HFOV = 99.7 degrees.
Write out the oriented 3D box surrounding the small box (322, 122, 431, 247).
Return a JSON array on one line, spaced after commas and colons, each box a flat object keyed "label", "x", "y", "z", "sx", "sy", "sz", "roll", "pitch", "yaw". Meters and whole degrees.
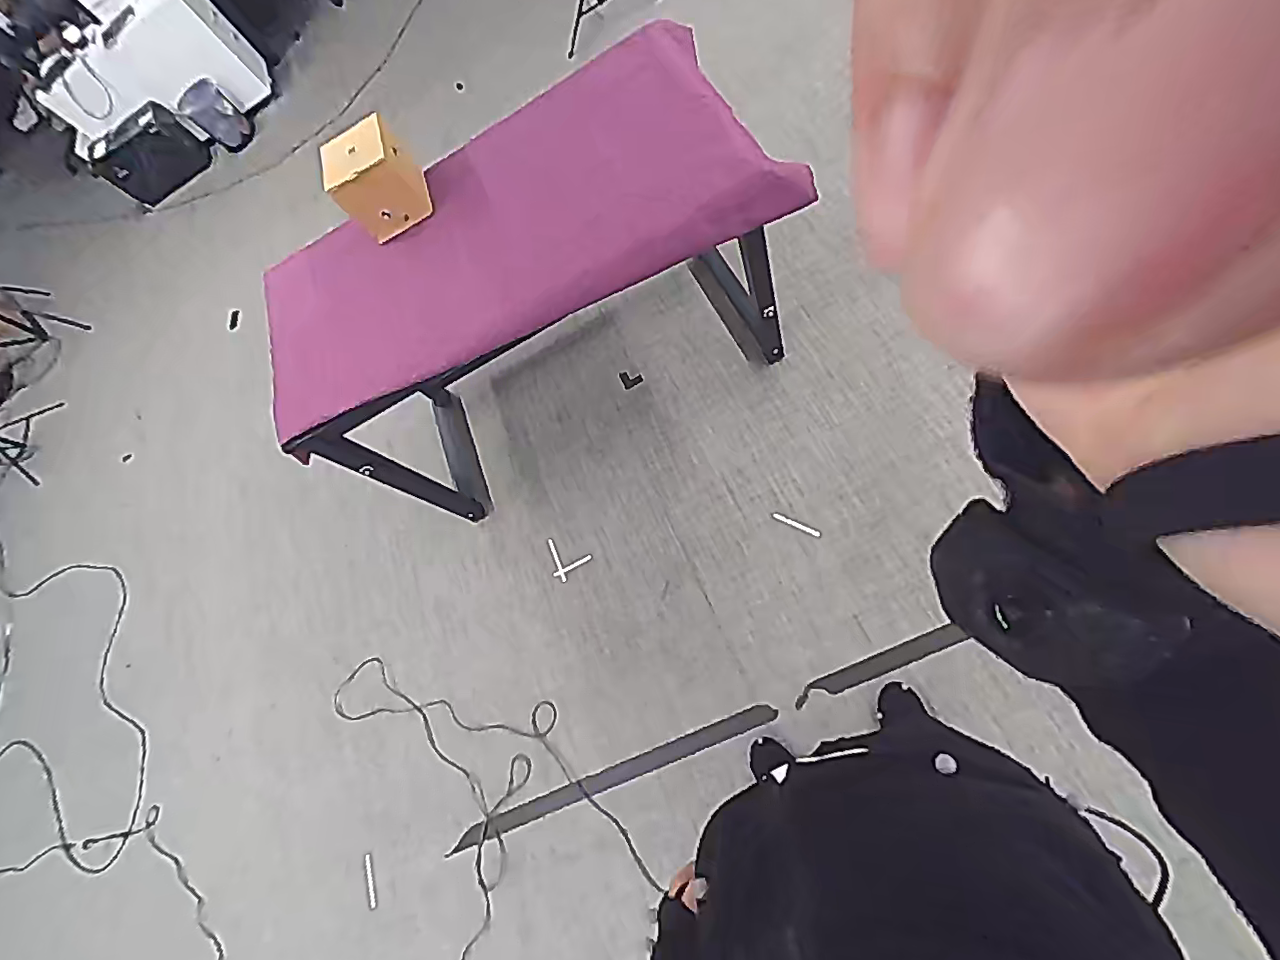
[{"label": "small box", "x": -0.639, "y": -0.713, "z": 1.321, "sx": 0.168, "sy": 0.176, "sz": 0.179, "roll": -25, "pitch": 65, "yaw": 9}]
